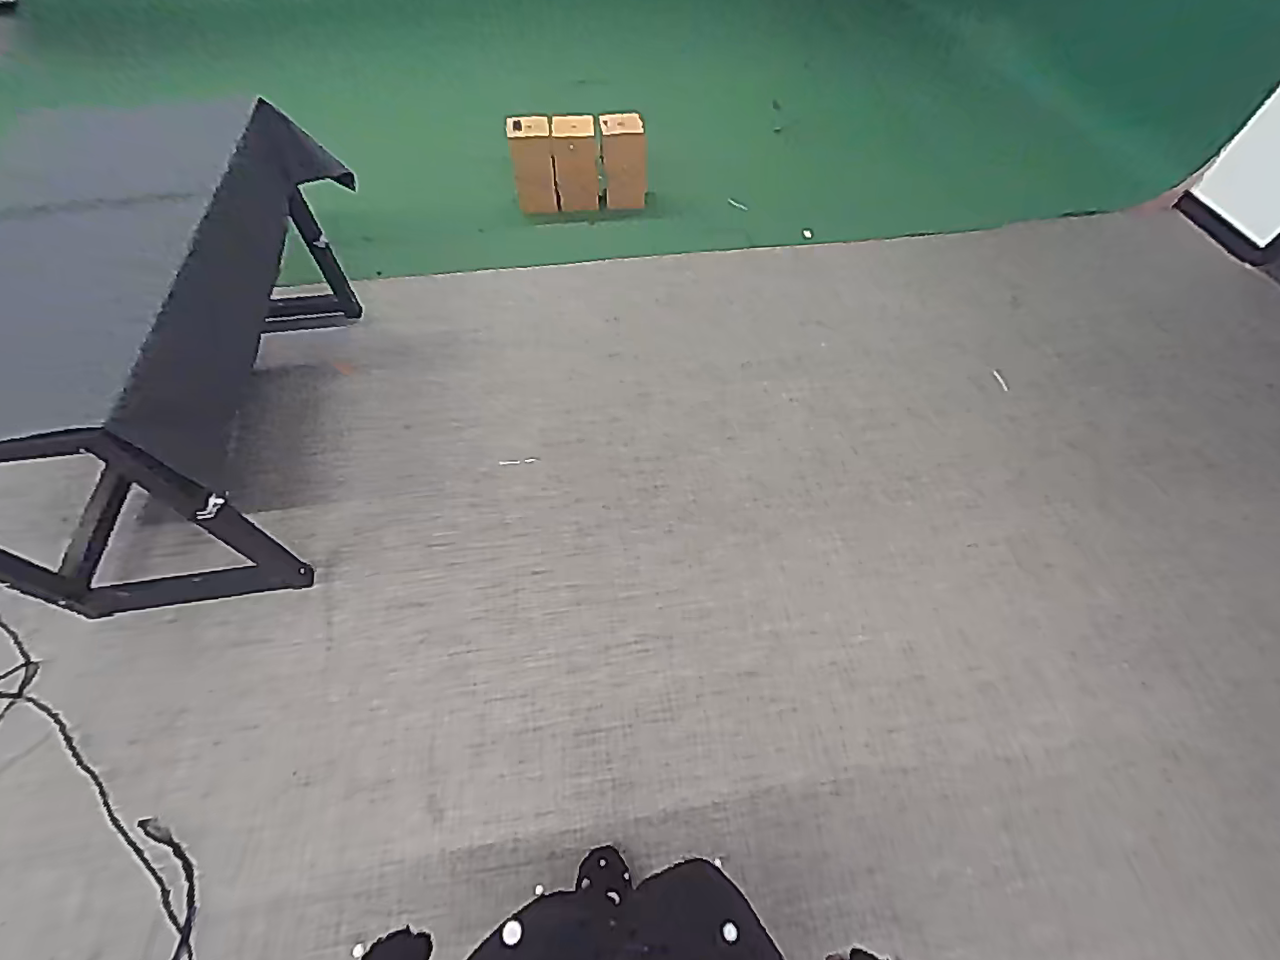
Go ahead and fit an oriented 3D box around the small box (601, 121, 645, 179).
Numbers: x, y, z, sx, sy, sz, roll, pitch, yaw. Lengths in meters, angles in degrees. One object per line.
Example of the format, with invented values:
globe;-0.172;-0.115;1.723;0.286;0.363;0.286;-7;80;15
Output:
small box;-0.077;-1.440;2.363;0.179;0.176;0.168;-6;57;-6
